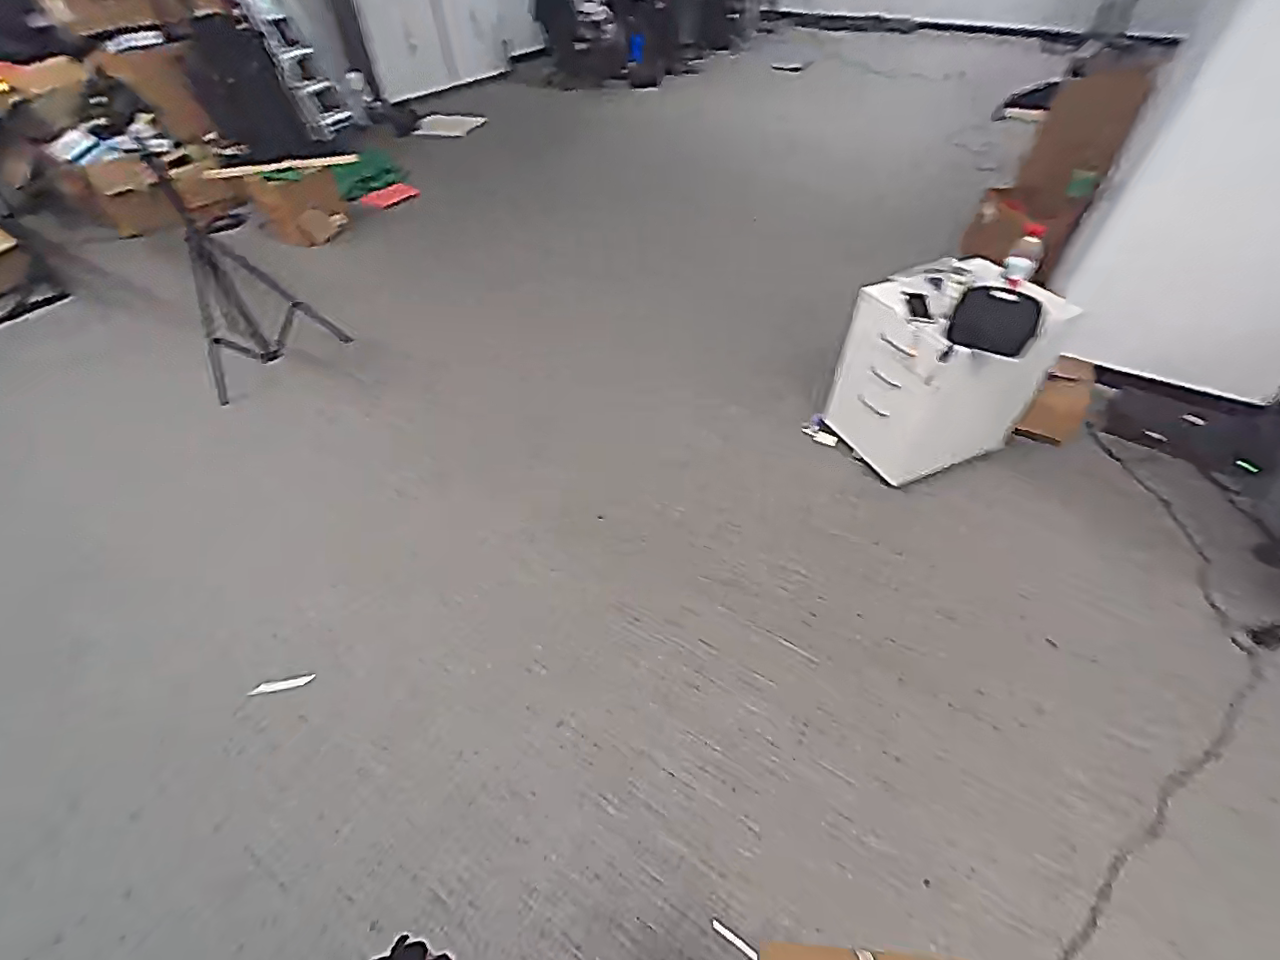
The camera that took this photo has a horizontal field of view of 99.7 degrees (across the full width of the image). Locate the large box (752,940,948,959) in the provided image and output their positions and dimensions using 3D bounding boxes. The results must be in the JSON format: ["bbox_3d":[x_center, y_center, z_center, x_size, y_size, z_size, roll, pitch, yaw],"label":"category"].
[{"bbox_3d":[0.301,0.806,0.589,0.320,0.408,0.320,-1,75,6],"label":"large box"}]
